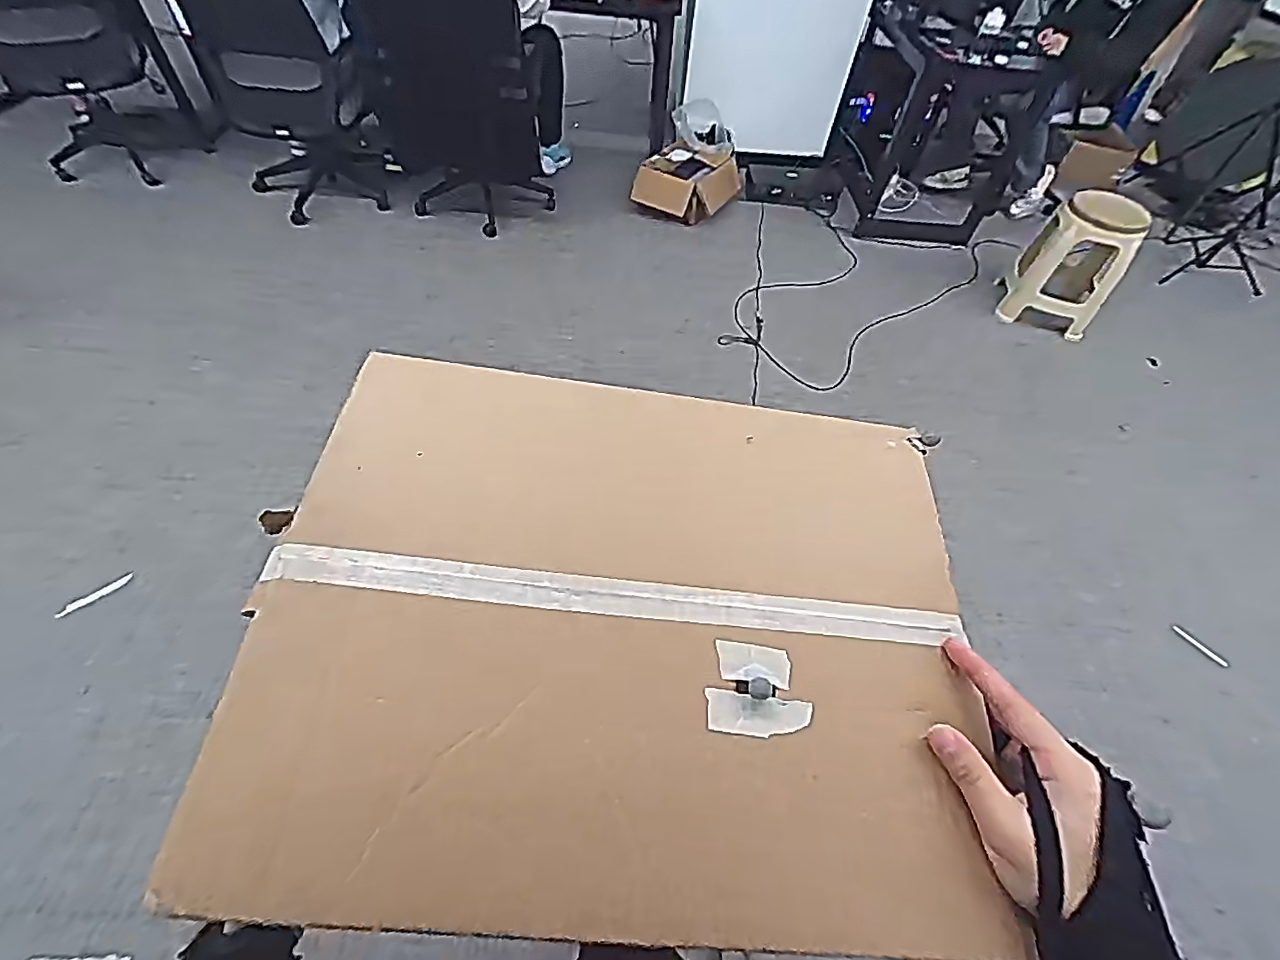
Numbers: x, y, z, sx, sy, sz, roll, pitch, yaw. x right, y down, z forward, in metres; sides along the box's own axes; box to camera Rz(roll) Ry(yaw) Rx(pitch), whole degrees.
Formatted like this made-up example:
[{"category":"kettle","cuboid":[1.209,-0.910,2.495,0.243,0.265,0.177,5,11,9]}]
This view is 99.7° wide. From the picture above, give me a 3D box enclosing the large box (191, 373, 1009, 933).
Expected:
[{"category":"large box","cuboid":[-0.020,0.149,0.459,0.408,0.320,0.320,8,61,-6]}]
